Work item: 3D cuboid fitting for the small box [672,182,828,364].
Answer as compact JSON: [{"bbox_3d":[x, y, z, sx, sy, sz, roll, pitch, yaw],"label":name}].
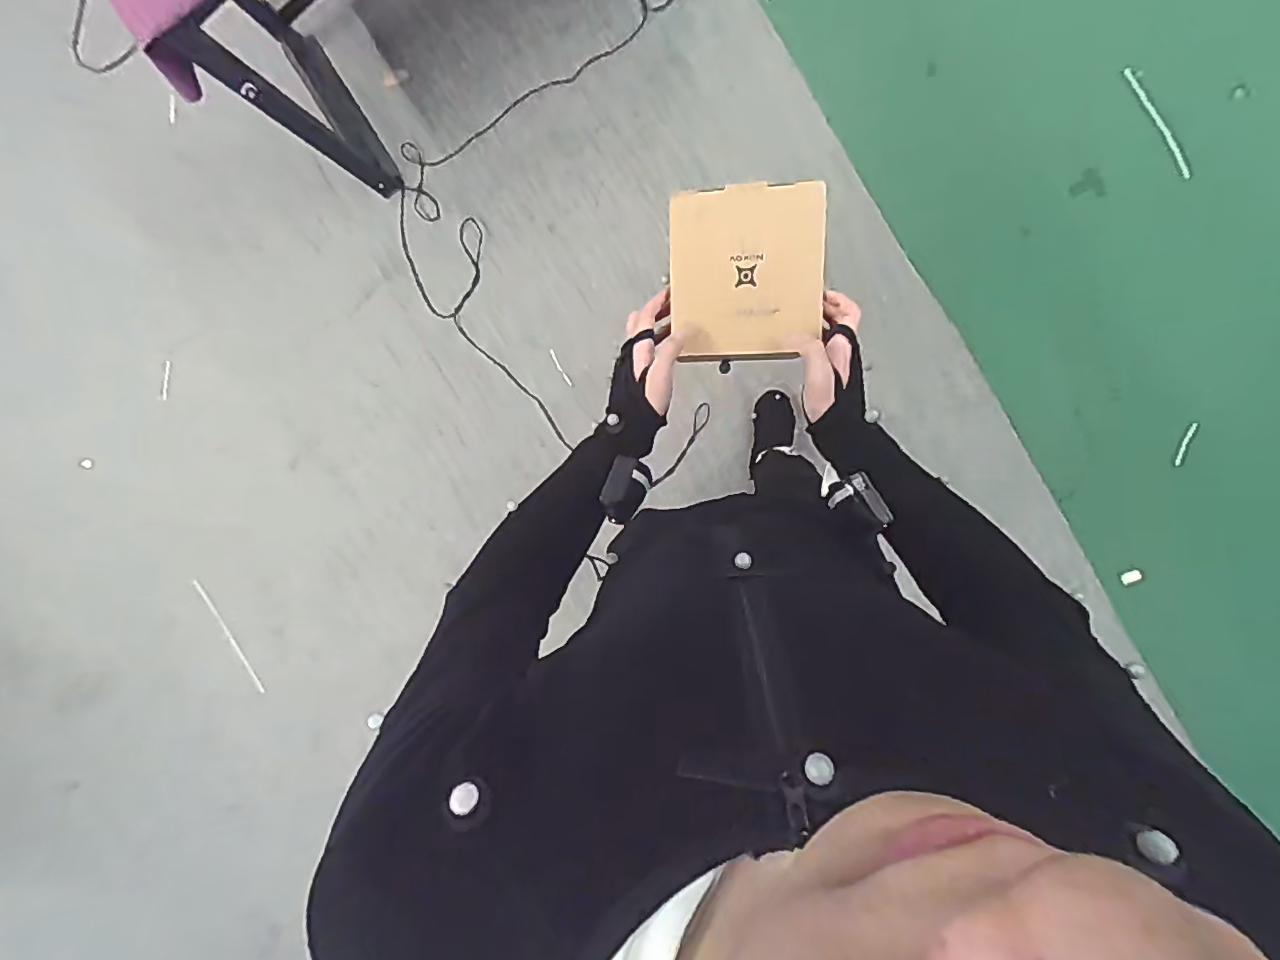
[{"bbox_3d":[0.123,-0.236,0.659,0.168,0.176,0.179,0,100,7],"label":"small box"}]
